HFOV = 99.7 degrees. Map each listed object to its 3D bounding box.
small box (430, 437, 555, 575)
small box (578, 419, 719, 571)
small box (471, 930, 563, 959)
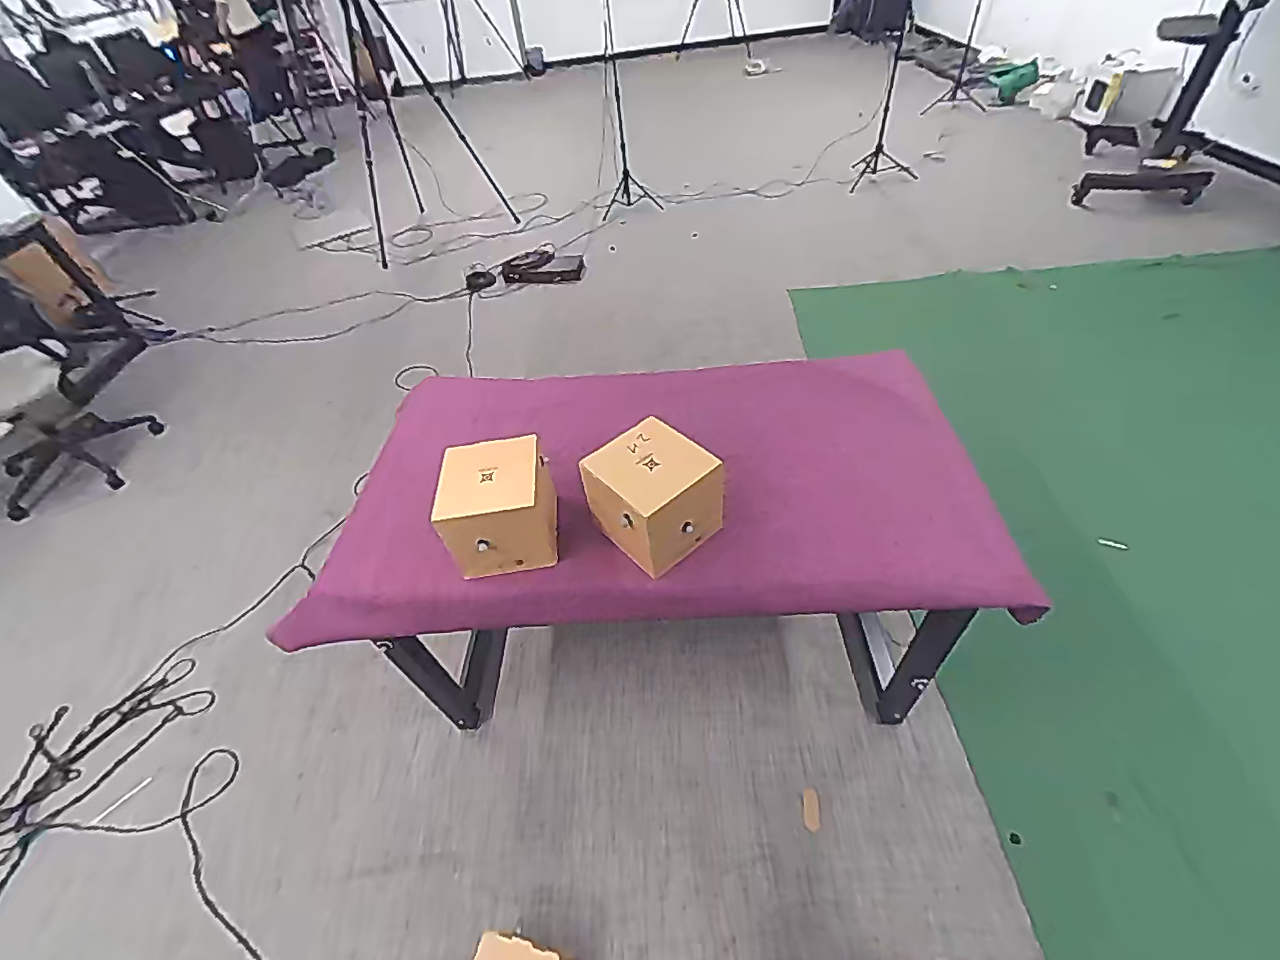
[{"bbox_3d":[-0.248,0.052,0.953,0.168,0.176,0.179,-9,44,-1],"label":"small box"},{"bbox_3d":[0.020,0.031,0.935,0.168,0.176,0.179,-34,51,-24],"label":"small box"},{"bbox_3d":[-0.249,1.014,1.047,0.168,0.176,0.179,7,49,15],"label":"small box"}]
